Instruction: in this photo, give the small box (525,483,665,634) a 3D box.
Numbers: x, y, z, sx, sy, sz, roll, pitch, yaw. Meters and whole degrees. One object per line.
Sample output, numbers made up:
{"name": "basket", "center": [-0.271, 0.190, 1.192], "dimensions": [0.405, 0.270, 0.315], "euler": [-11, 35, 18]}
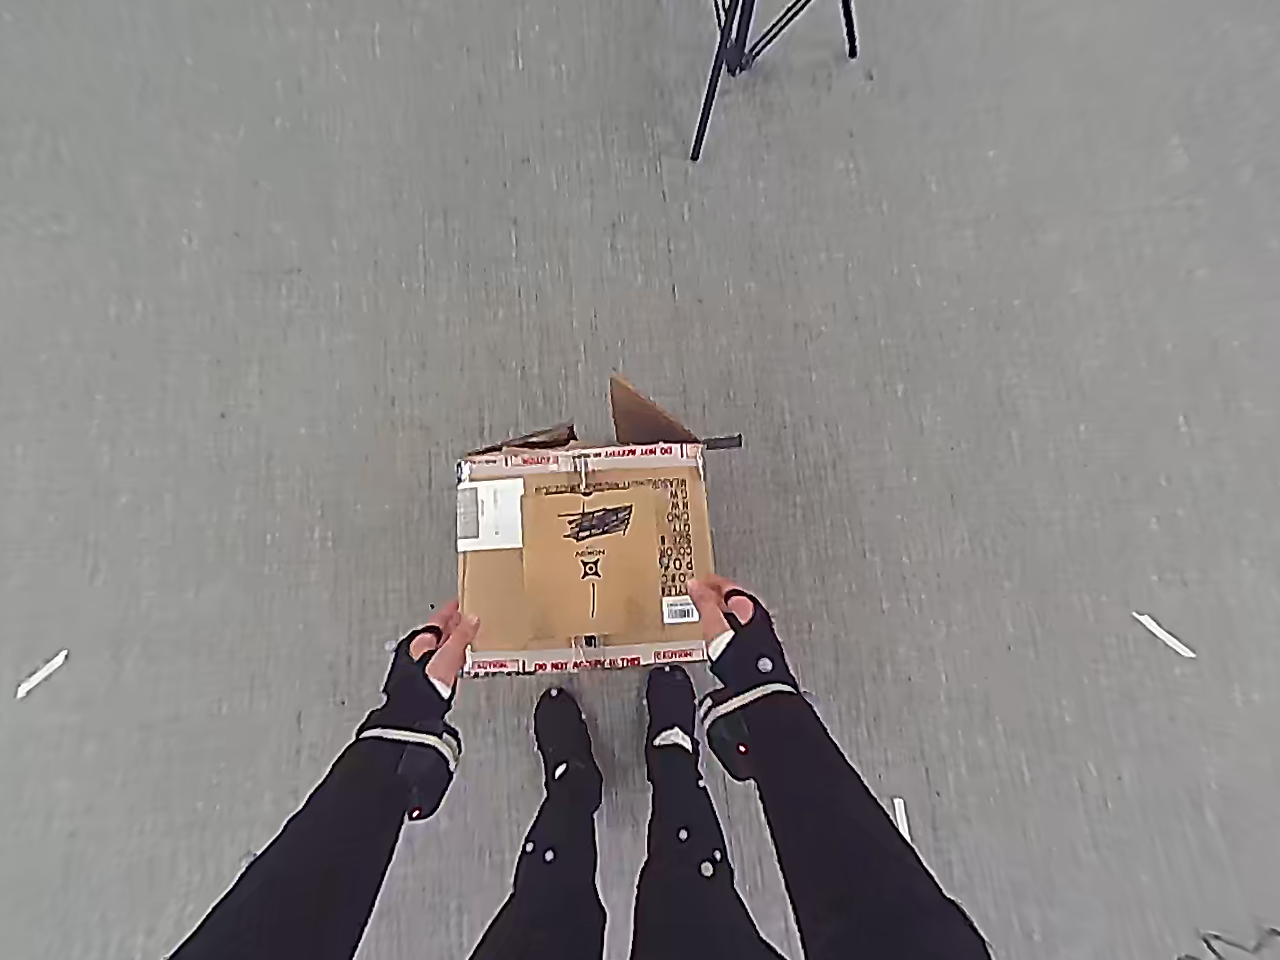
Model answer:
{"name": "small box", "center": [-0.059, 0.104, 0.737], "dimensions": [0.168, 0.176, 0.179], "euler": [-4, 83, -2]}
